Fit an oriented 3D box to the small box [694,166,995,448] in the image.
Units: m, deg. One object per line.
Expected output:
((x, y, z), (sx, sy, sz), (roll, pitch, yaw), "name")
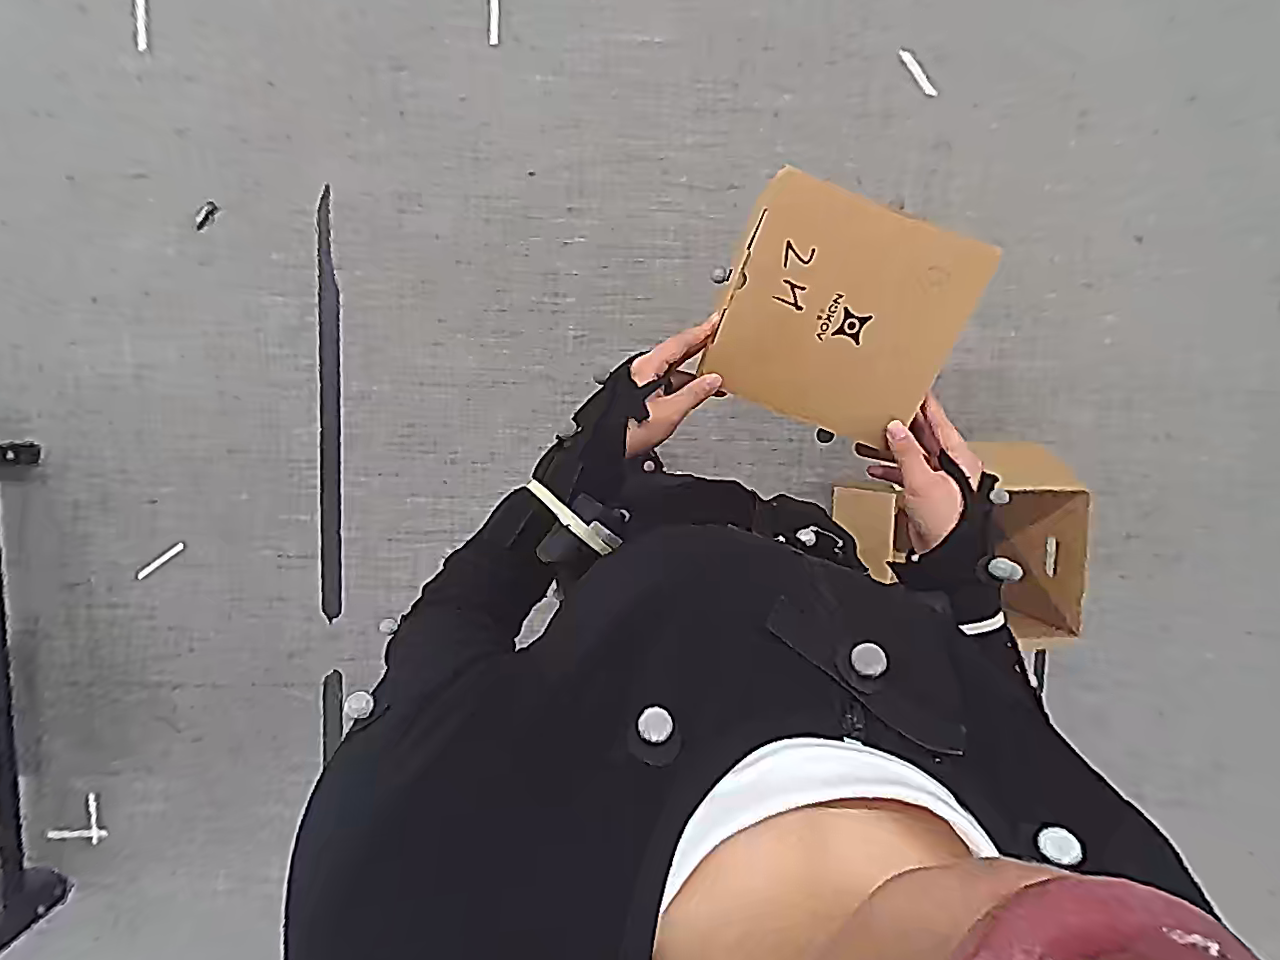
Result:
((0.159, -0.153, 0.490), (0.179, 0.176, 0.168), (20, 111, -2), "small box")
